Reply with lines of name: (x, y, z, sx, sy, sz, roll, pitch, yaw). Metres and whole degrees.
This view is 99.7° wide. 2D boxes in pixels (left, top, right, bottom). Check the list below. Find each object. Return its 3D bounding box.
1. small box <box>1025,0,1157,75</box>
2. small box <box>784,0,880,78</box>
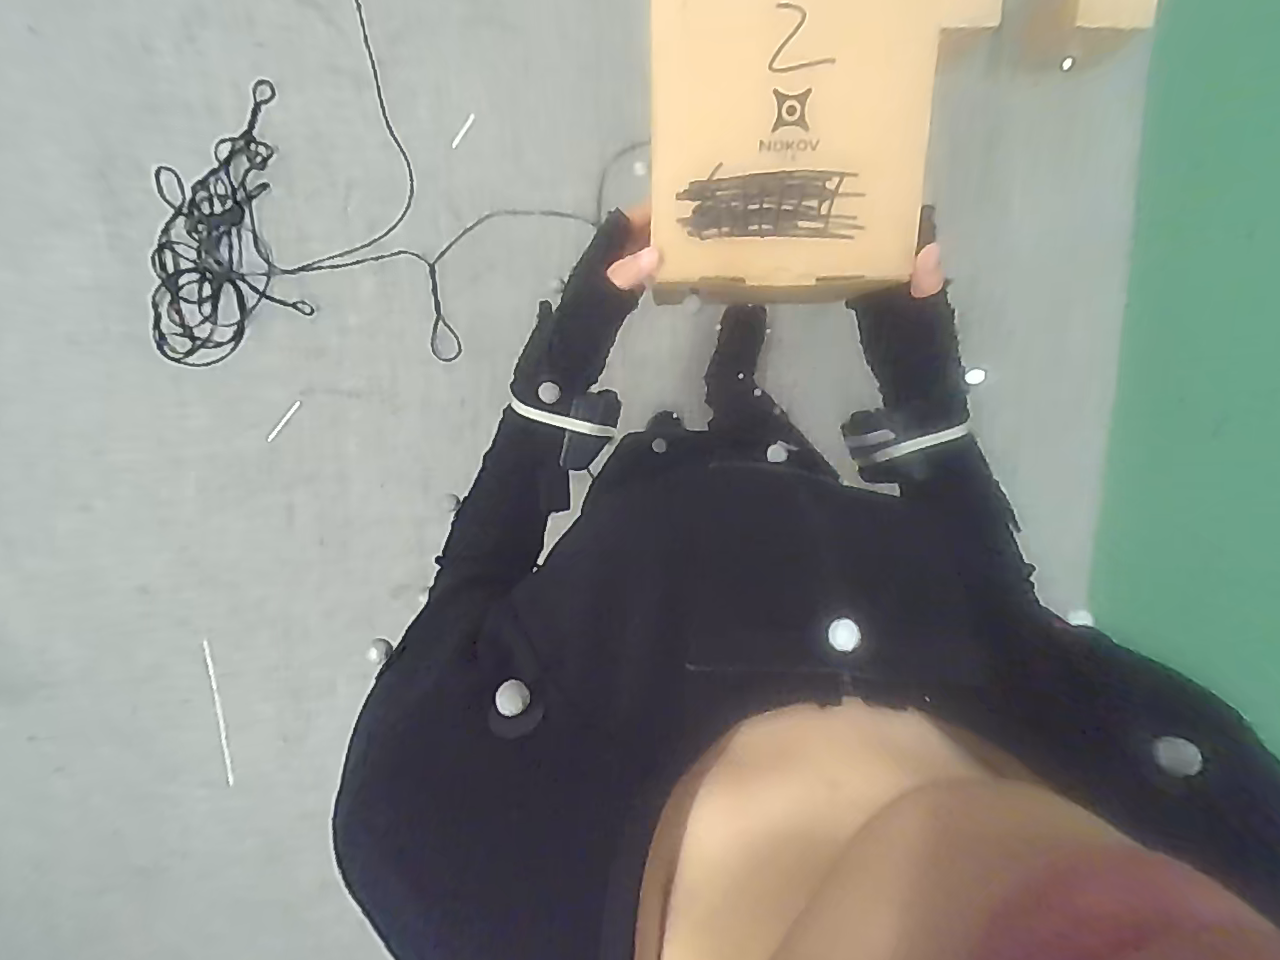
small box: (1.006, -1.053, 1.208, 0.168, 0.176, 0.179, 3, 100, 0)
small box: (0.424, -1.046, 1.211, 0.168, 0.176, 0.179, 0, 99, 1)
